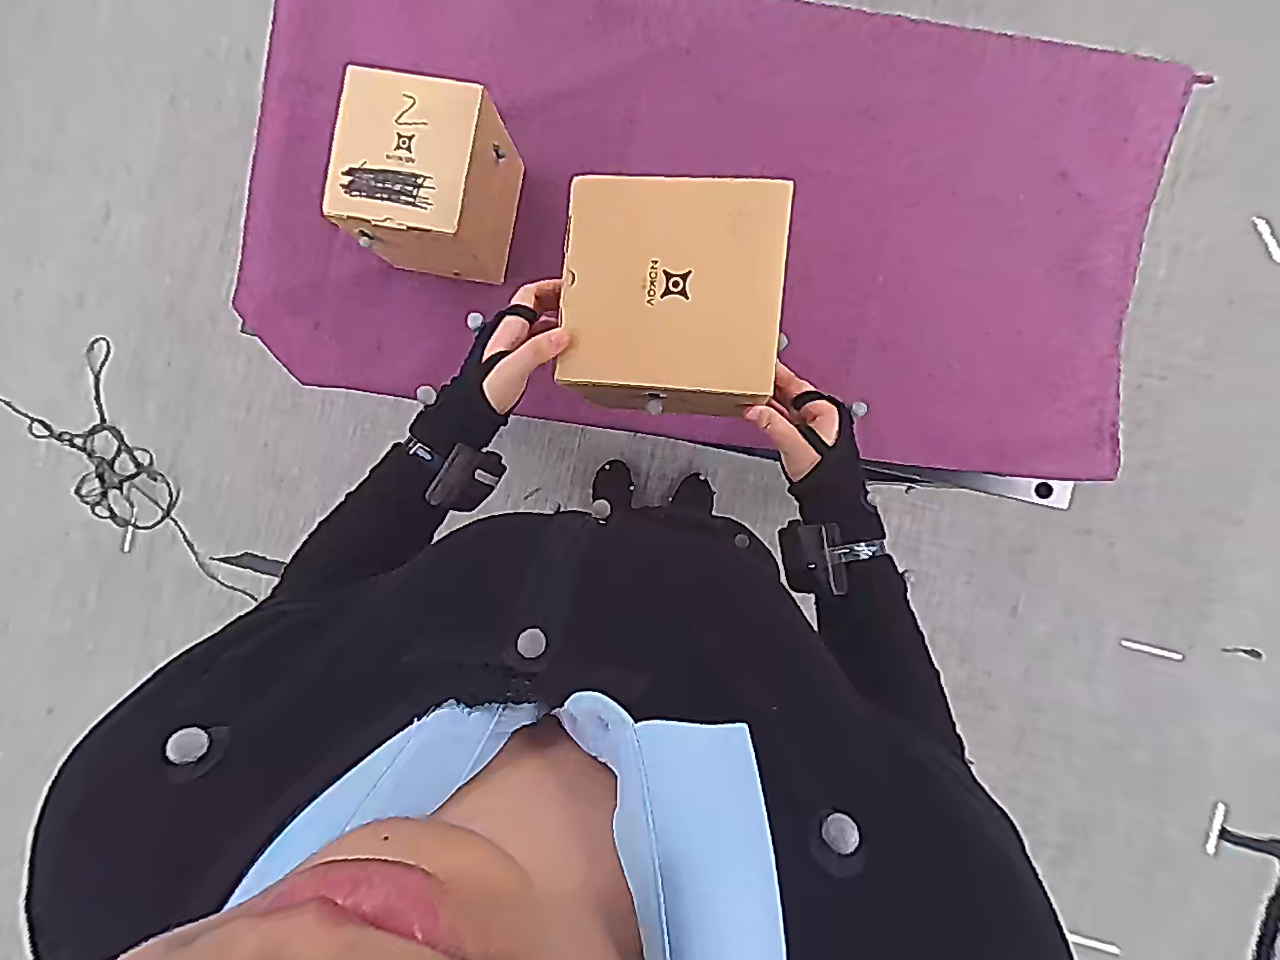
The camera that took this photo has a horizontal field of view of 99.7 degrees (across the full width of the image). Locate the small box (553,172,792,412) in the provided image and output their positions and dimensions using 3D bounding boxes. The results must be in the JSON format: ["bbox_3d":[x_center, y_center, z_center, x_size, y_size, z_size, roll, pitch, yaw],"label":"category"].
[{"bbox_3d":[0.033,-0.156,0.499,0.179,0.176,0.168,5,91,8],"label":"small box"}]
